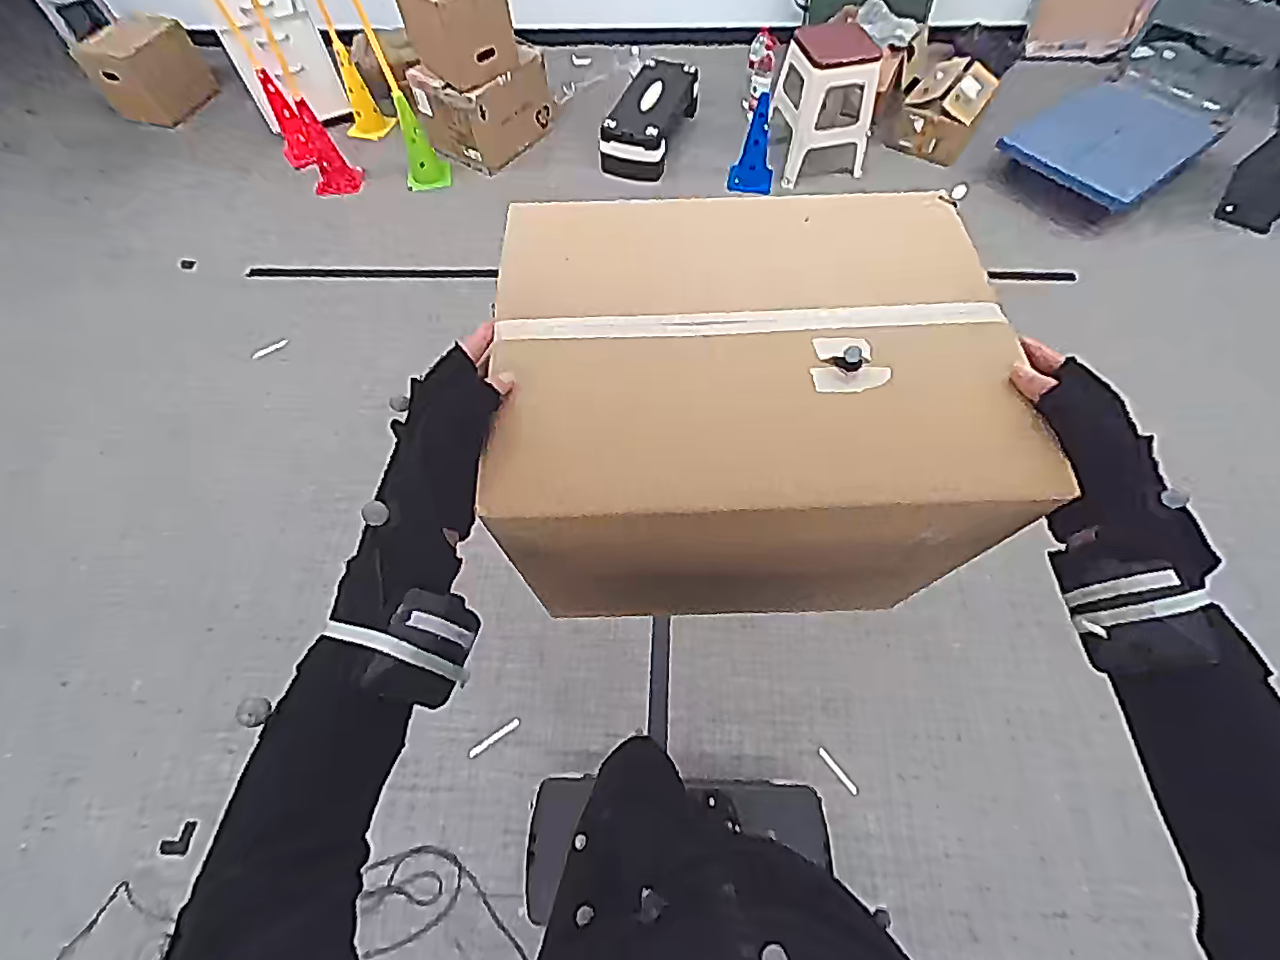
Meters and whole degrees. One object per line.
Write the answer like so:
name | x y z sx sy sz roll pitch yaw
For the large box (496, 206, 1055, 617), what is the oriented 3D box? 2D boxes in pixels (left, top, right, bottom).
large box | 0.088 -0.050 0.574 0.408 0.320 0.320 -2 64 -1
